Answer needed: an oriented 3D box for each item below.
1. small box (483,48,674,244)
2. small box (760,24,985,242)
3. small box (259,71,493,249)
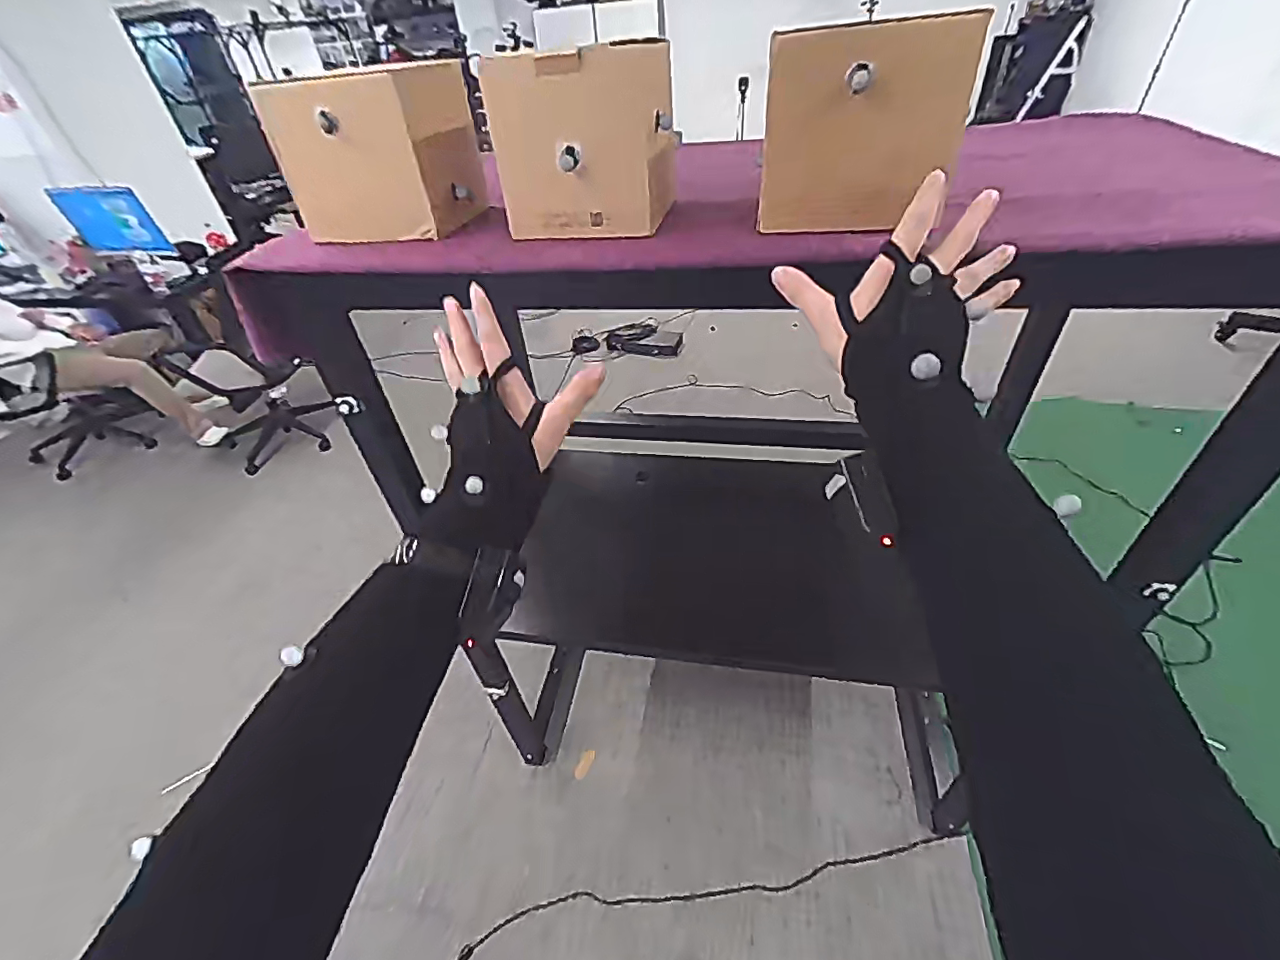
[{"bbox_3d":[-0.053,-0.381,0.625,0.168,0.176,0.179,4,40,11],"label":"small box"},{"bbox_3d":[0.223,-0.362,0.570,0.179,0.176,0.168,3,39,13],"label":"small box"},{"bbox_3d":[-0.309,-0.398,0.677,0.179,0.176,0.168,3,40,9],"label":"small box"}]
